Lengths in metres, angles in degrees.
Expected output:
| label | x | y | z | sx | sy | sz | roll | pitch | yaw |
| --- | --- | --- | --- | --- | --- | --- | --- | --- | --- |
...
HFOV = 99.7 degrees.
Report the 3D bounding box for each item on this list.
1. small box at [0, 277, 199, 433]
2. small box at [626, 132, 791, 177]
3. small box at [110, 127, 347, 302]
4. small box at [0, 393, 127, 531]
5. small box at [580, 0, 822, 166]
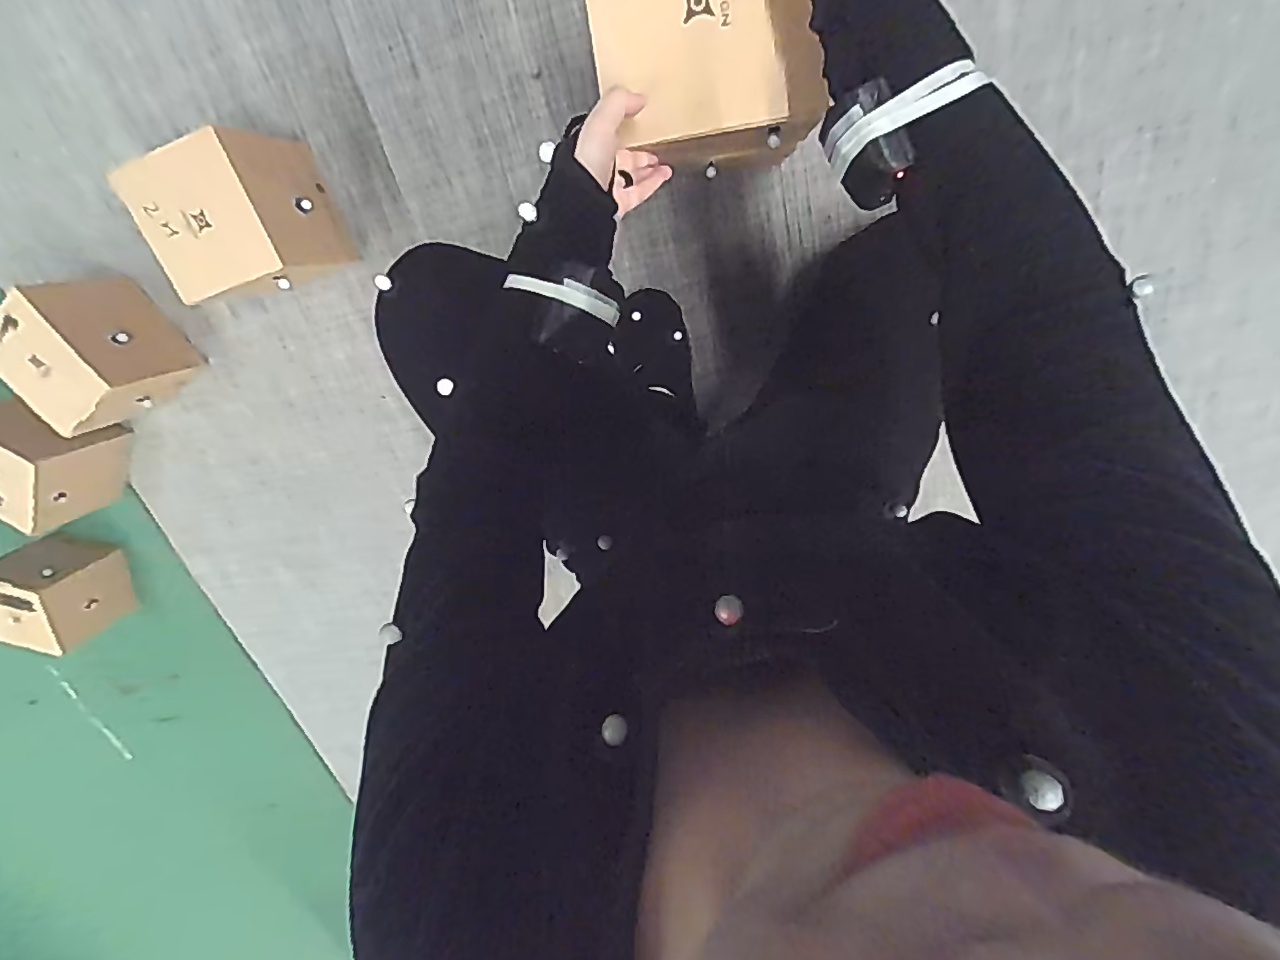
| label | x | y | z | sx | sy | sz | roll | pitch | yaw |
| --- | --- | --- | --- | --- | --- | --- | --- | --- | --- |
| small box | -0.892 | -0.210 | 0.888 | 0.168 | 0.176 | 0.179 | -27 | 108 | 20 |
| small box | 0.078 | -0.447 | 0.611 | 0.179 | 0.176 | 0.168 | -1 | 116 | 9 |
| small box | -0.549 | -0.363 | 0.755 | 0.179 | 0.176 | 0.168 | -12 | 112 | 14 |
| small box | -1.113 | -0.044 | 1.004 | 0.168 | 0.176 | 0.179 | 32 | 115 | -5 |
| small box | 0.054 | -0.381 | 0.464 | 0.179 | 0.176 | 0.168 | -4 | 115 | 10 |
